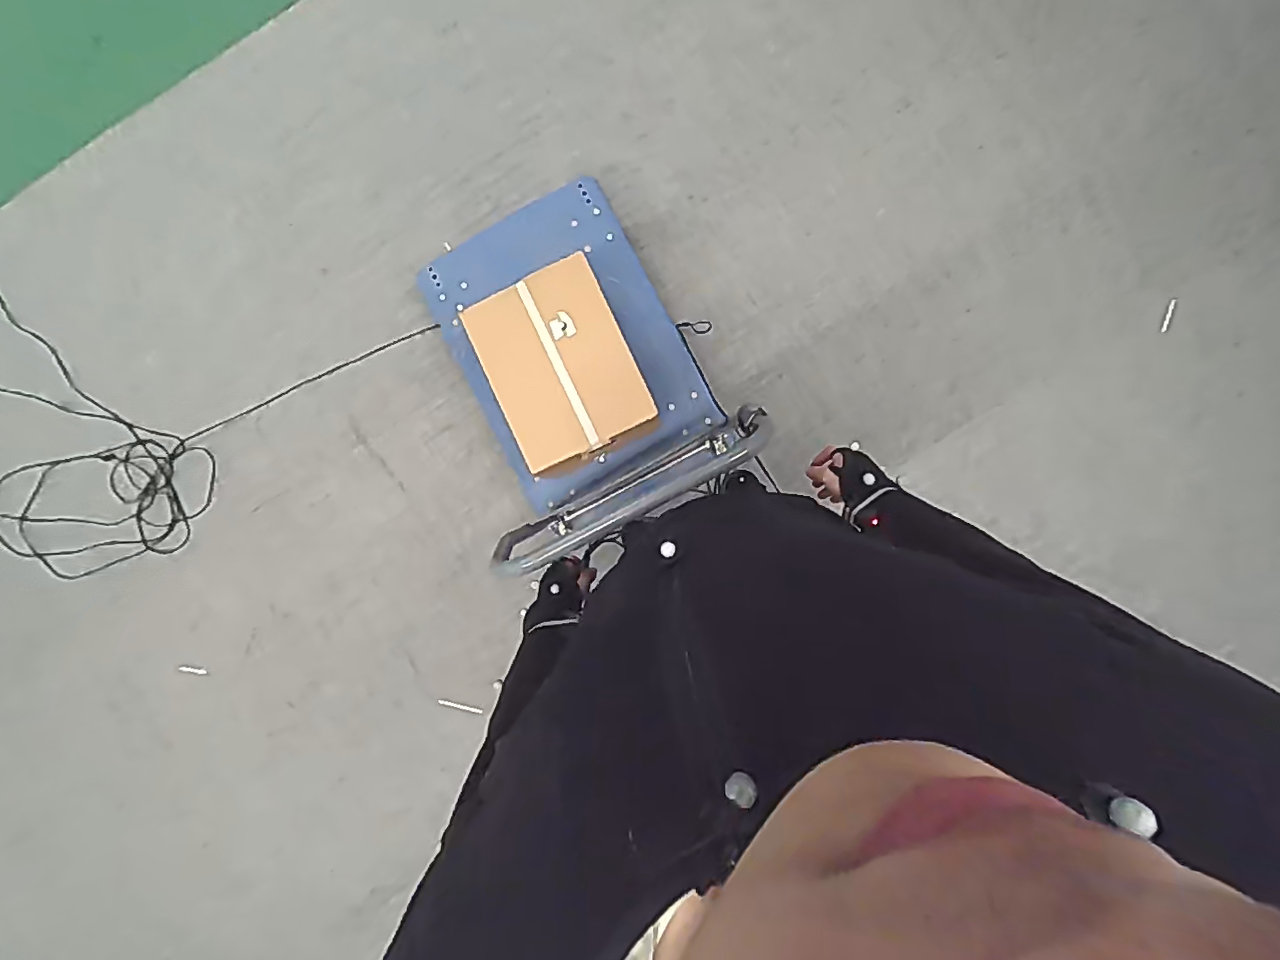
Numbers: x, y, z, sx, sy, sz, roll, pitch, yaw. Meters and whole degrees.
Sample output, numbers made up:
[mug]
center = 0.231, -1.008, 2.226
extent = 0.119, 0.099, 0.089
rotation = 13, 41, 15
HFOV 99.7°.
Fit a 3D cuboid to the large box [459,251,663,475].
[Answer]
[large box]
center = -0.168, -0.257, 1.325
extent = 0.320, 0.320, 0.408
rotation = -25, 88, 2
